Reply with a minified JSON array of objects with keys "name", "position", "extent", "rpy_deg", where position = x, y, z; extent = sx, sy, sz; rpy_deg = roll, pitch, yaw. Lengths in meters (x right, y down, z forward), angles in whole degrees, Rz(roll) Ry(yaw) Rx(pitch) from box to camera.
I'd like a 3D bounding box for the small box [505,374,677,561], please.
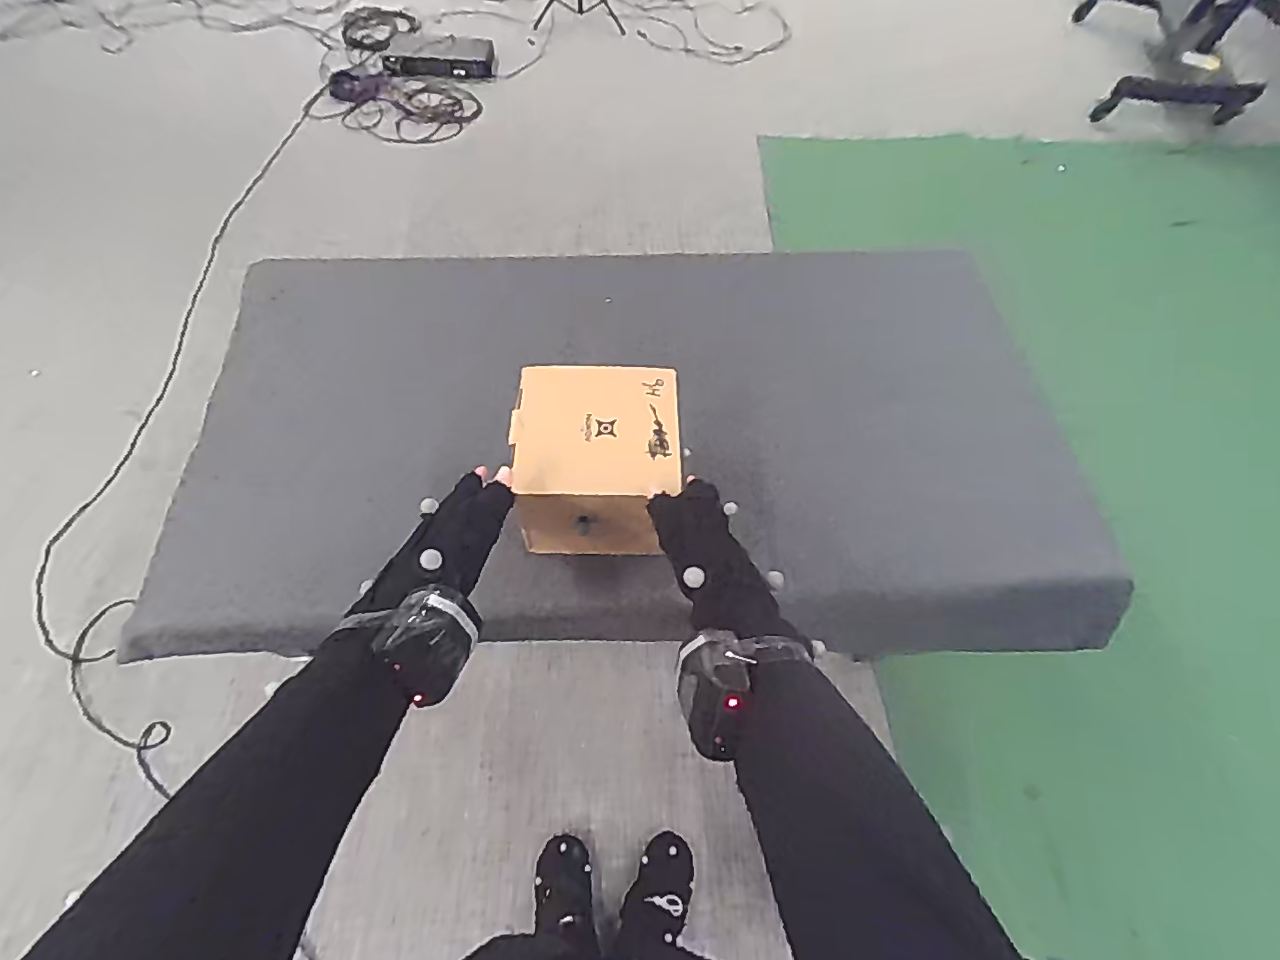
[{"name":"small box","position":[-0.050,-0.008,0.649],"extent":[0.179,0.176,0.168],"rpy_deg":[1,61,-2]}]
